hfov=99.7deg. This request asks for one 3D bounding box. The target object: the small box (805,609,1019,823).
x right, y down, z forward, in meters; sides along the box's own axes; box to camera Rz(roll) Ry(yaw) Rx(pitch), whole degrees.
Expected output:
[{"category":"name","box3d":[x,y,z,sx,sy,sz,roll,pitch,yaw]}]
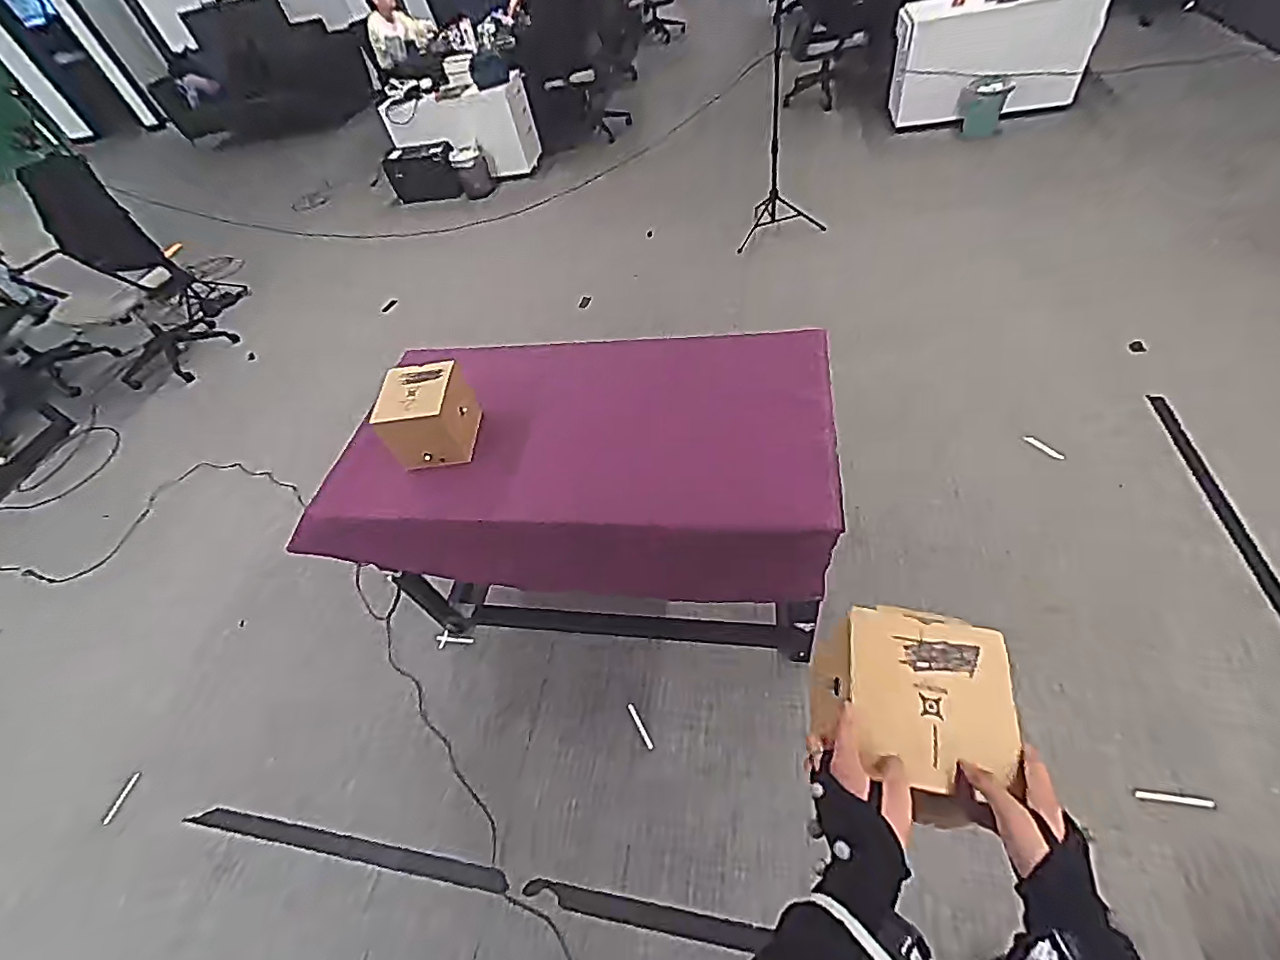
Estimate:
[{"category":"small box","box3d":[0.294,0.277,0.632,0.168,0.176,0.179,7,53,7]}]
